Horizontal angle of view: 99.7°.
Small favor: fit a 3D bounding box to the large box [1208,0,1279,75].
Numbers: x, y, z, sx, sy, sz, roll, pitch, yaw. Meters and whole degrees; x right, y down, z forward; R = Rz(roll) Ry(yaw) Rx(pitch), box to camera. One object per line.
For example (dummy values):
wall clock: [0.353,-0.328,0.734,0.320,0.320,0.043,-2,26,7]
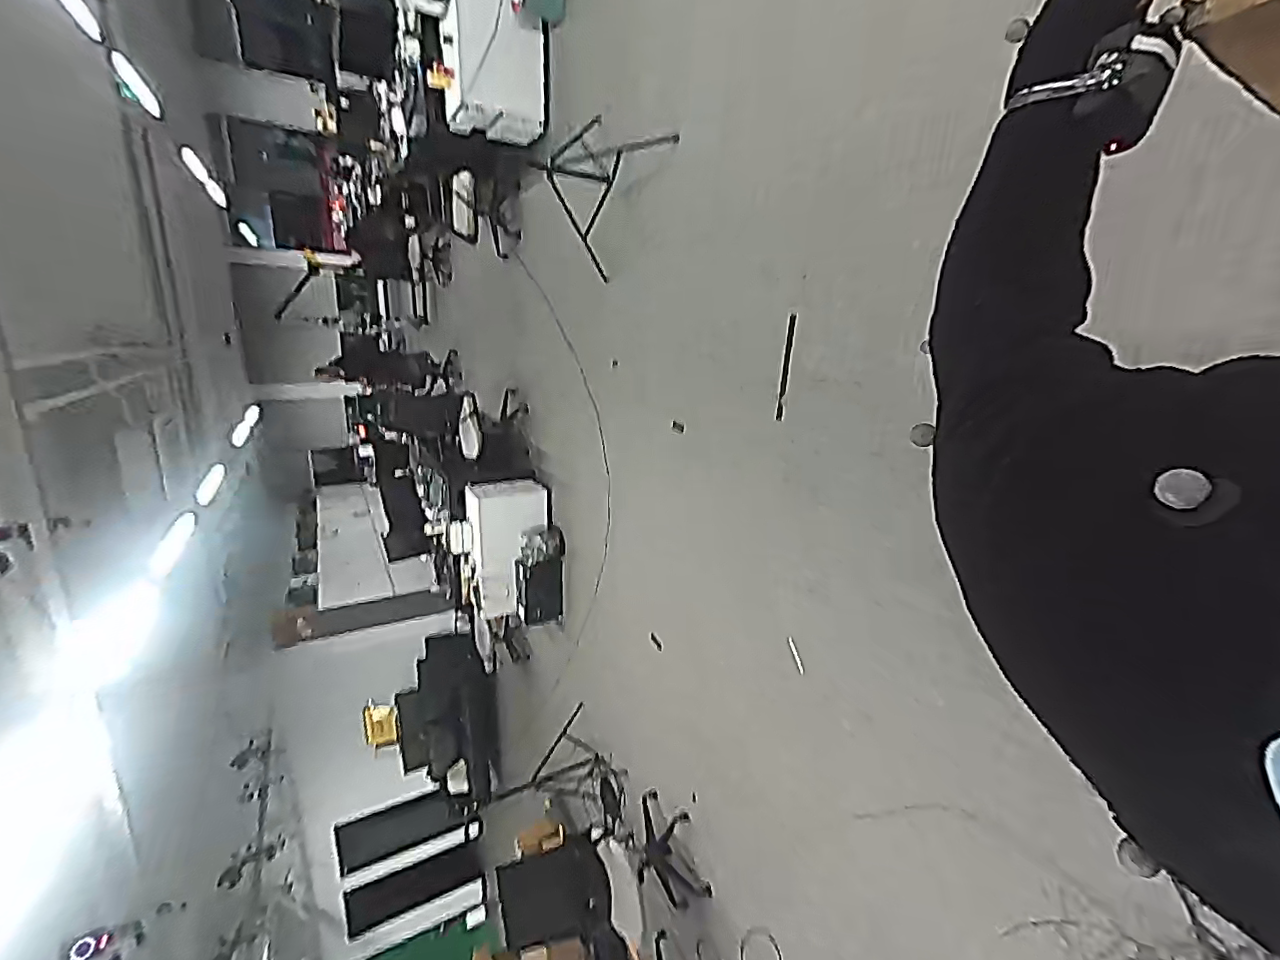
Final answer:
large box: [0.611,-0.453,0.246,0.408,0.320,0.320,17,112,57]
